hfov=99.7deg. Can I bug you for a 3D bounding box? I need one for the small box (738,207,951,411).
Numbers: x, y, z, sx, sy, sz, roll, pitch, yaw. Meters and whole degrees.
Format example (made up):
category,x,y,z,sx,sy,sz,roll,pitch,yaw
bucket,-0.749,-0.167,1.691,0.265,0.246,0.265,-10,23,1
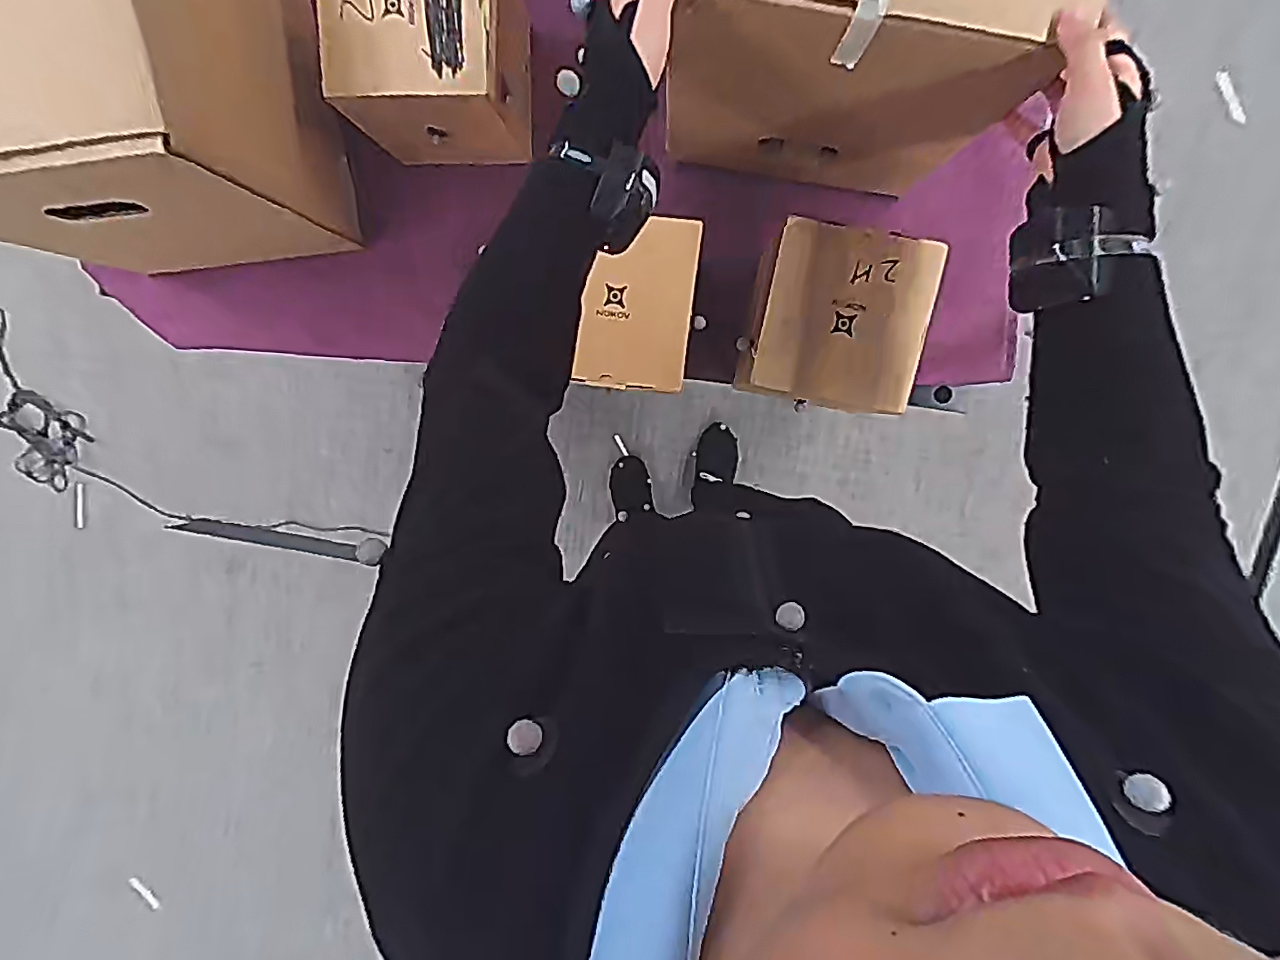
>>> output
category,x,y,z,sx,sy,sz,roll,pitch,yaw
small box,0.215,-0.181,0.624,0.168,0.176,0.179,12,98,2
